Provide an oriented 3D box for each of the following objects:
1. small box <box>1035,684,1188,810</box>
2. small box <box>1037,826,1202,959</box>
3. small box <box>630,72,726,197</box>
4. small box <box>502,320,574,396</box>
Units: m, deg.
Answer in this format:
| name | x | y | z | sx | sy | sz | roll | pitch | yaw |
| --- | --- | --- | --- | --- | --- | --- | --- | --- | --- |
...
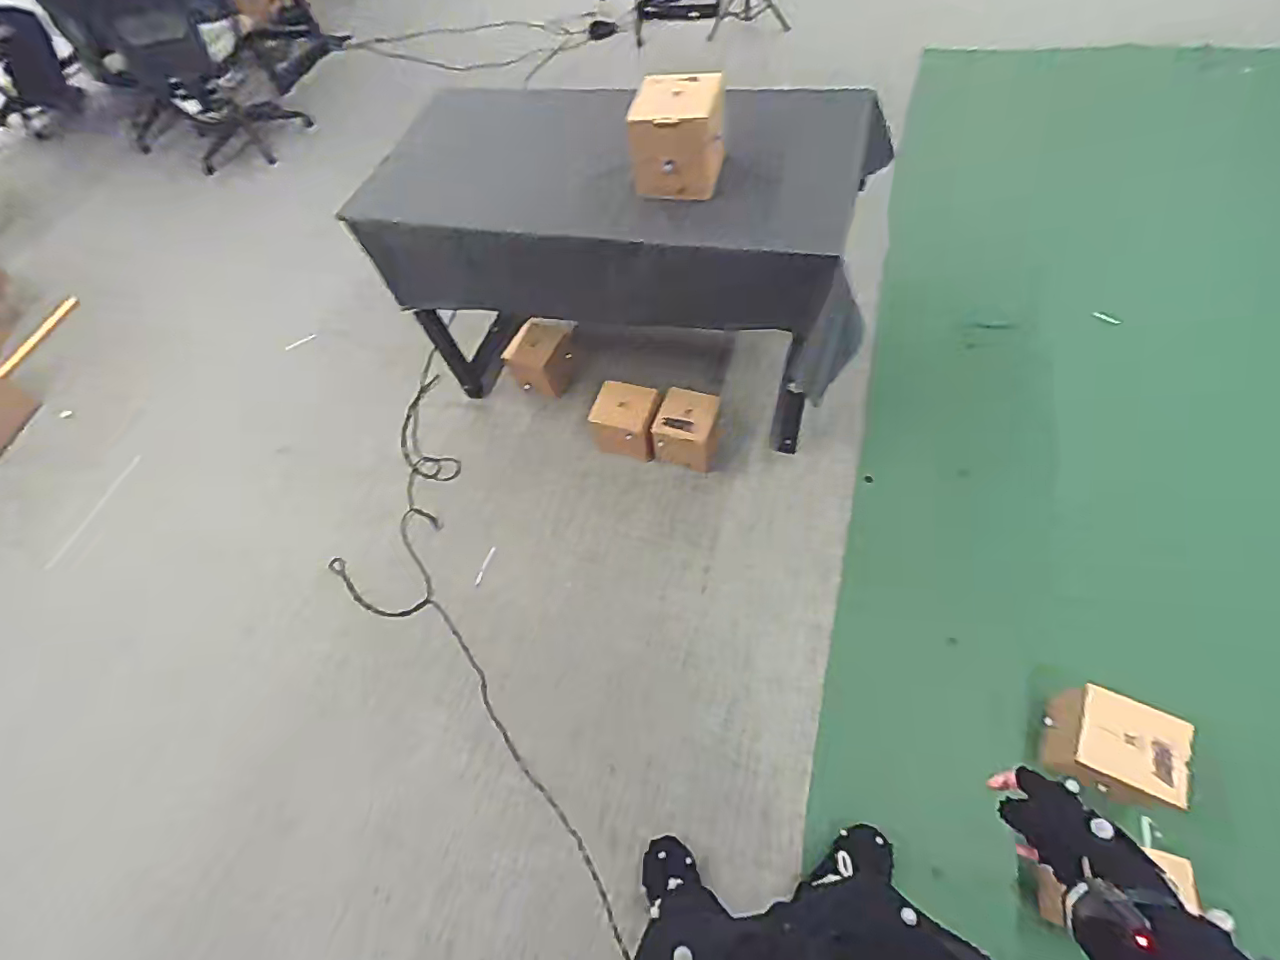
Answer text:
| name | x | y | z | sx | sy | sz | roll | pitch | yaw |
| --- | --- | --- | --- | --- | --- | --- | --- | --- | --- |
| small box | 0.969 | 0.553 | 1.121 | 0.179 | 0.176 | 0.168 | 21 | 65 | 21 |
| small box | 0.873 | 0.766 | 1.010 | 0.179 | 0.176 | 0.168 | 11 | 63 | 14 |
| small box | 0.089 | -0.734 | 1.158 | 0.168 | 0.176 | 0.179 | 10 | 62 | 14 |
| small box | -0.346 | -0.425 | 1.890 | 0.168 | 0.176 | 0.179 | 19 | 64 | 19 |
